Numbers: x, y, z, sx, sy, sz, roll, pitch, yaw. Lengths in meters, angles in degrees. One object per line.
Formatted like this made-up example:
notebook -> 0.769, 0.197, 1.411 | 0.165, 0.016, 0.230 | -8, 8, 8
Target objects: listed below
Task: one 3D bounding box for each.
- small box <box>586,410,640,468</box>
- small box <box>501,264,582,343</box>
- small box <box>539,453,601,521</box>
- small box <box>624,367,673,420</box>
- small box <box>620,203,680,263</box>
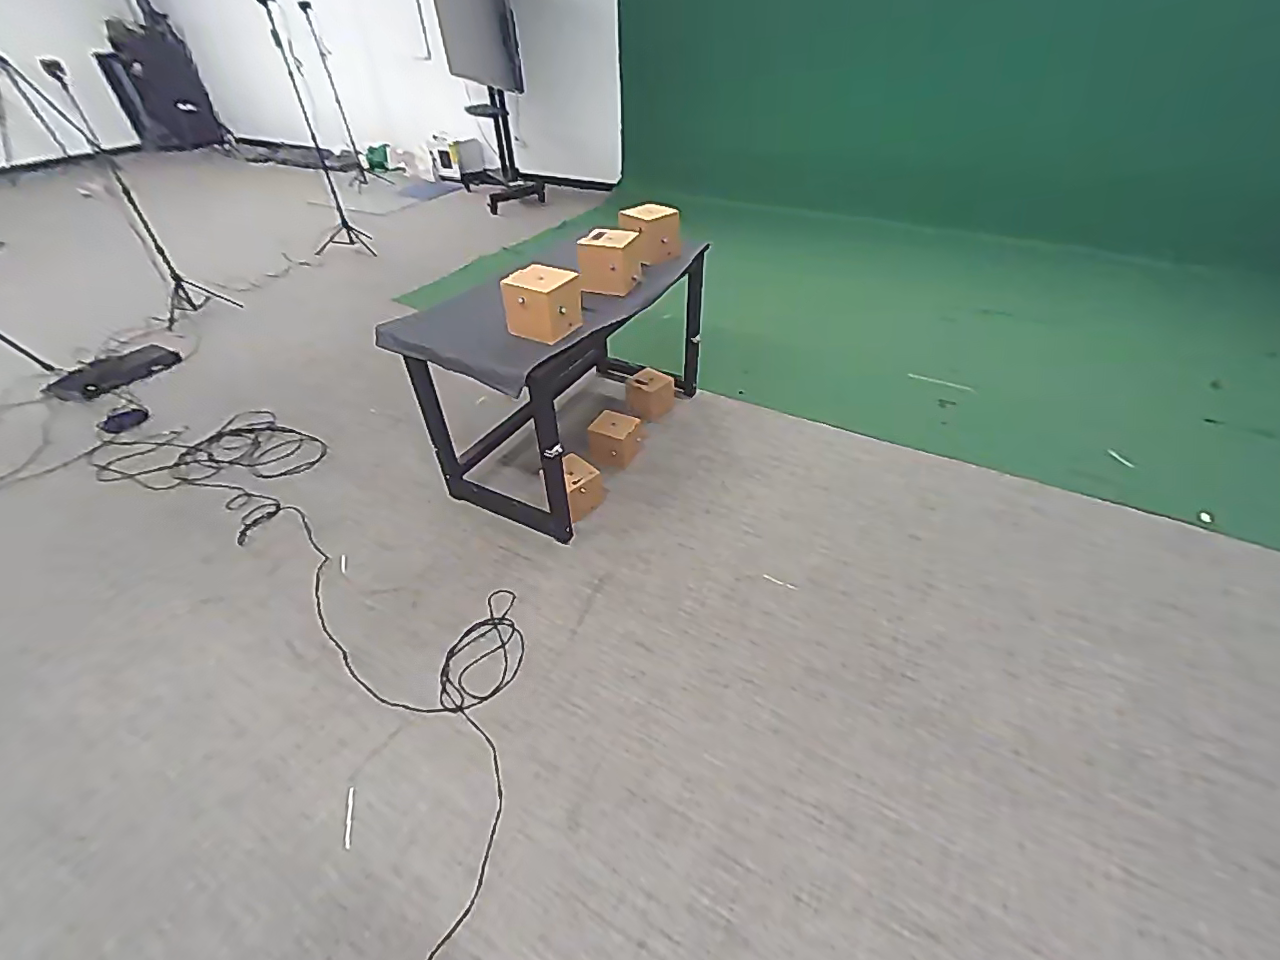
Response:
small box -> -0.112, -0.175, 2.342 | 0.179, 0.176, 0.168 | 17, 44, 20
small box -> -0.293, -0.539, 1.659 | 0.179, 0.176, 0.168 | 21, 46, 22
small box -> -0.272, 0.029, 2.116 | 0.168, 0.176, 0.179 | -33, 51, -31
small box -> 0.044, -0.414, 2.606 | 0.168, 0.176, 0.179 | 31, 49, 29
small box -> 0.042, -0.970, 2.131 | 0.168, 0.176, 0.179 | -30, 47, -29
